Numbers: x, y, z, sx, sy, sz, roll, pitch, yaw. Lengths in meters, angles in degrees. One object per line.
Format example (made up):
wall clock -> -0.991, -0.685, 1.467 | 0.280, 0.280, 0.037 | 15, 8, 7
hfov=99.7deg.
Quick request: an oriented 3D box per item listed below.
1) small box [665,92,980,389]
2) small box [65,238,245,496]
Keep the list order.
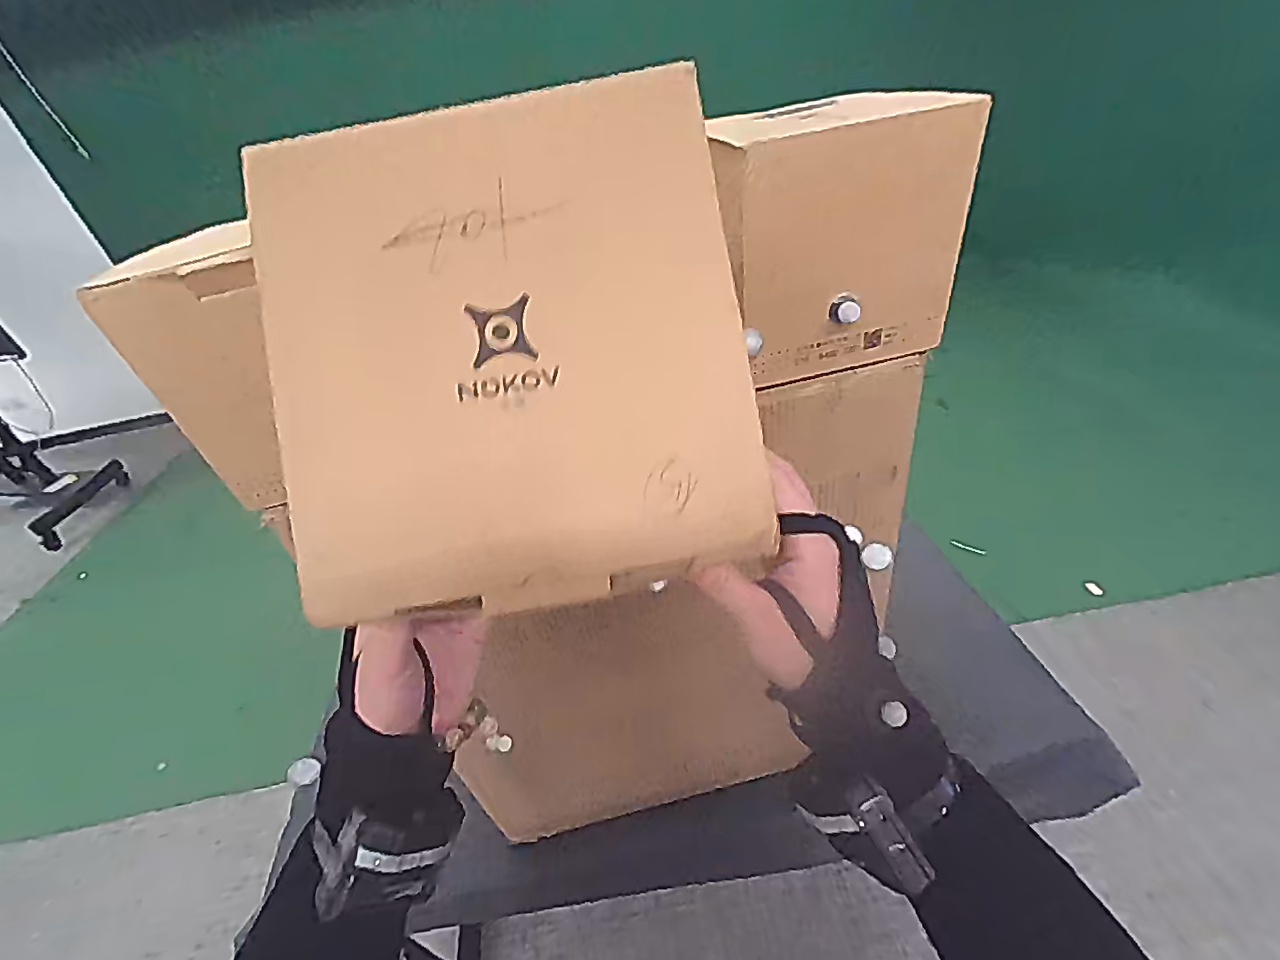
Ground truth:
small box -> 0.122, -0.194, 0.434 | 0.168, 0.176, 0.179 | -14, 38, -3
small box -> -0.245, -0.099, 0.418 | 0.168, 0.176, 0.179 | -15, 37, -2
